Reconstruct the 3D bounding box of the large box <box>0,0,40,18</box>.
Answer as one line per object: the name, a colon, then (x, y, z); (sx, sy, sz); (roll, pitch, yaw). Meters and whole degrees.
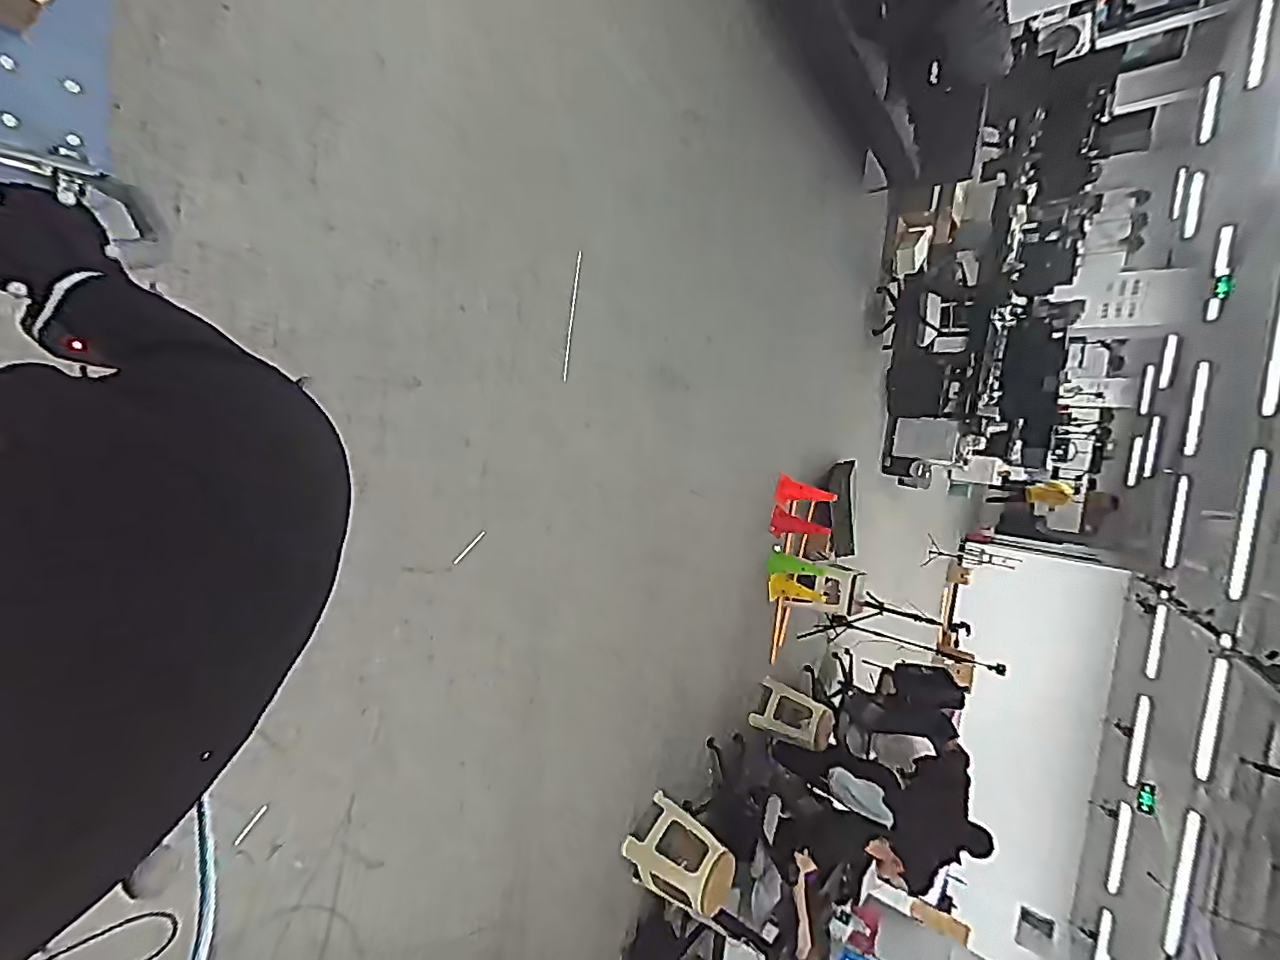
large box: (-0.882, -0.813, 0.567); (0.408, 0.320, 0.320); (20, 95, -55)
